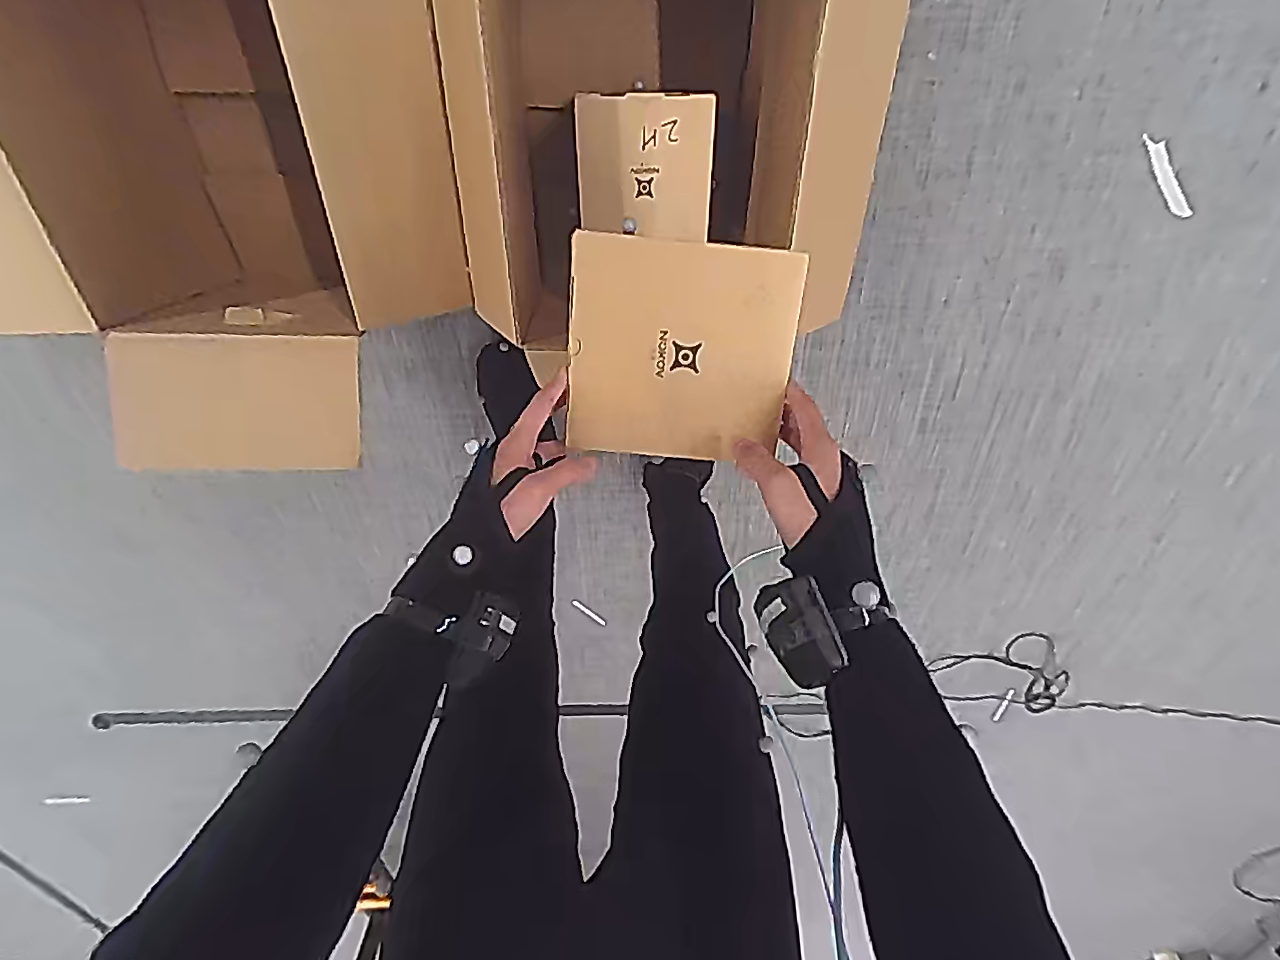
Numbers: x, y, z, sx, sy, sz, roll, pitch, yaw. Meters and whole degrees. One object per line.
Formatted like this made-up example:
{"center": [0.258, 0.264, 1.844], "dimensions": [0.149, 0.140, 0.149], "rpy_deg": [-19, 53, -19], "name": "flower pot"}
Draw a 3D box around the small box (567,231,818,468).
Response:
{"center": [0.037, -0.121, 0.485], "dimensions": [0.179, 0.176, 0.168], "rpy_deg": [5, 110, 1], "name": "small box"}
